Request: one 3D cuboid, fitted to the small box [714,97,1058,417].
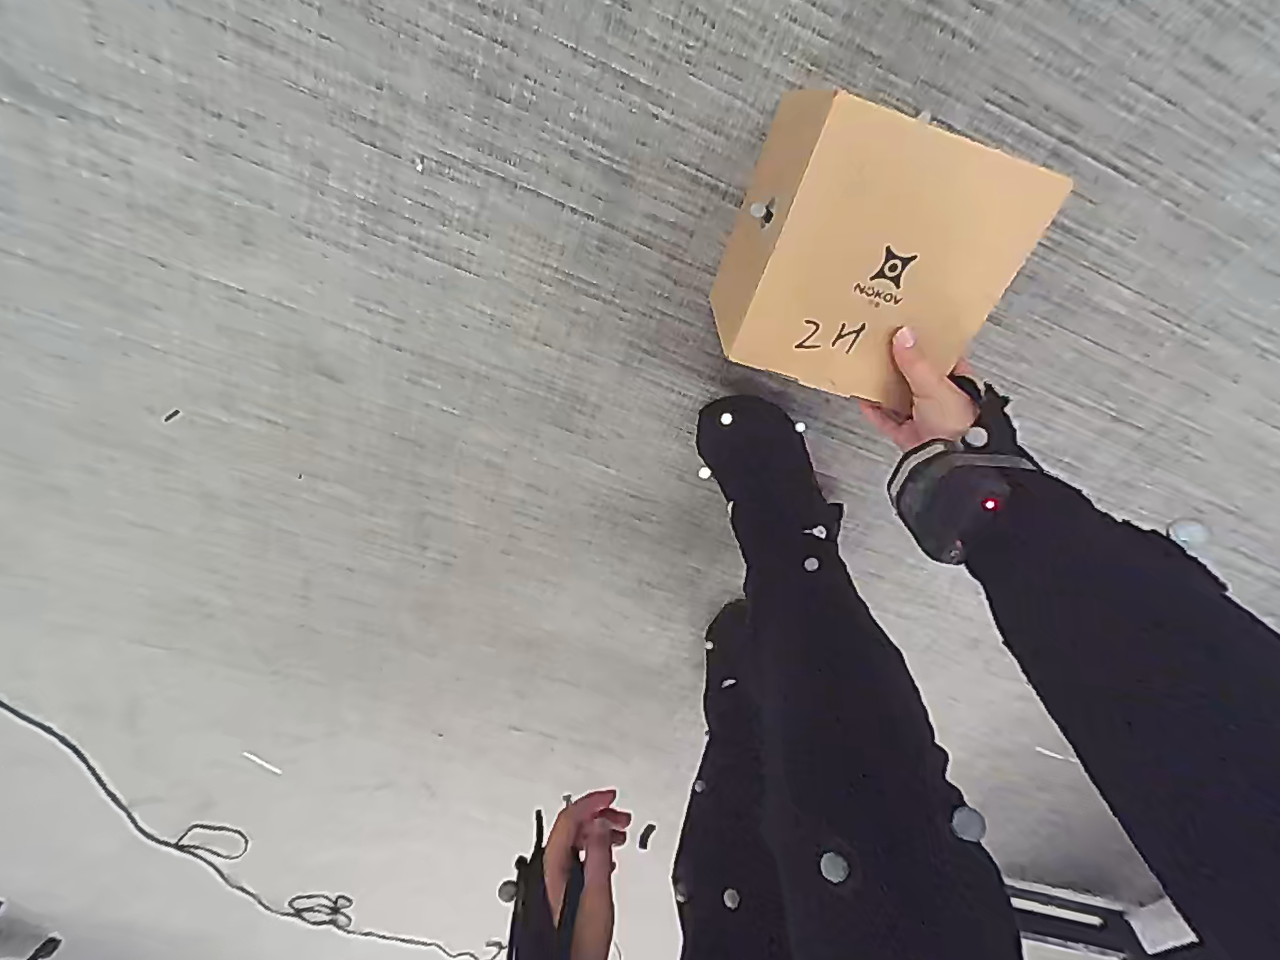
[{"bbox_3d":[0.166,-0.183,0.441,0.168,0.176,0.179,15,124,-7],"label":"small box"}]
